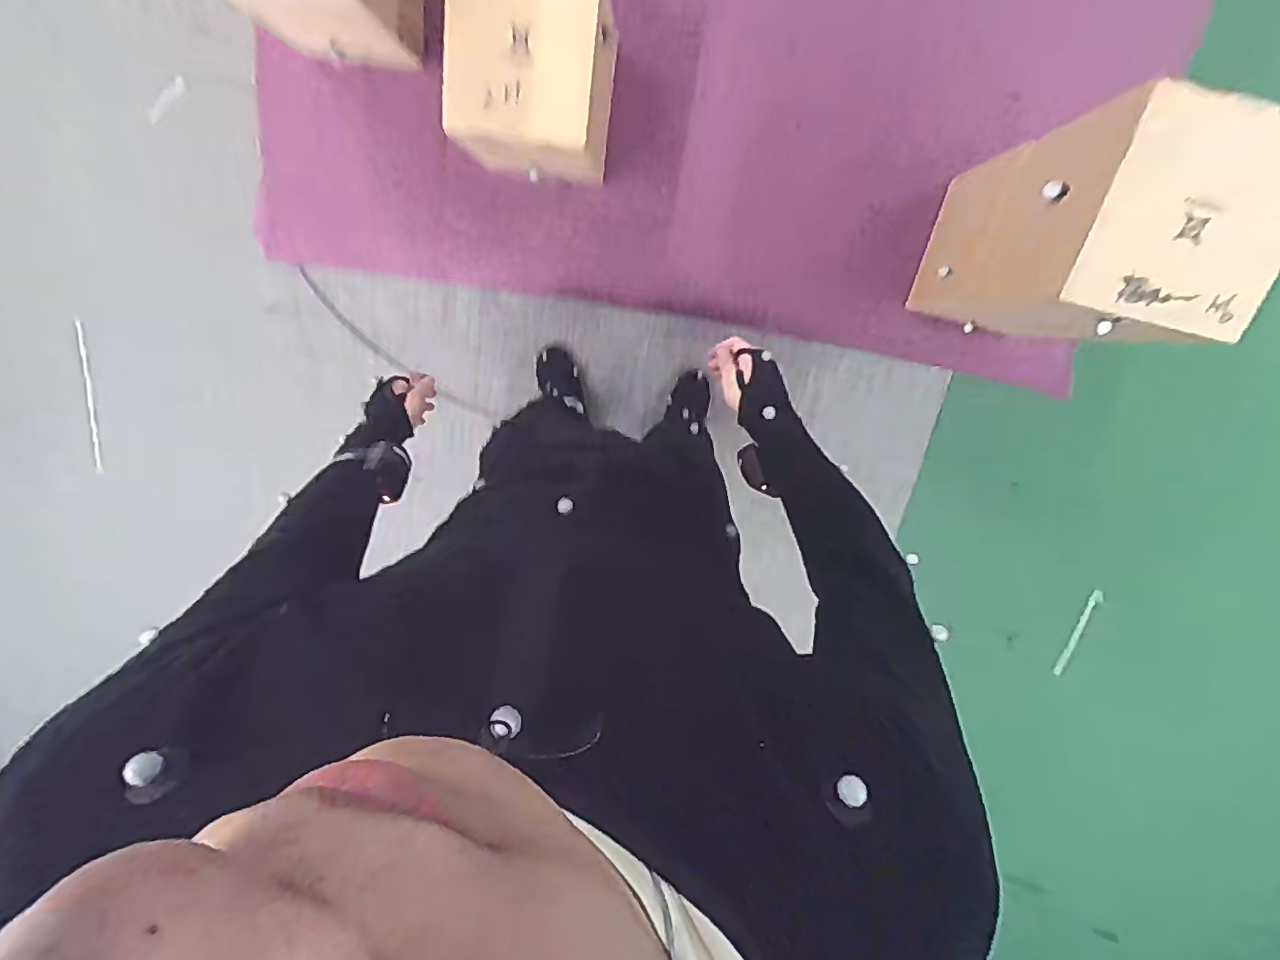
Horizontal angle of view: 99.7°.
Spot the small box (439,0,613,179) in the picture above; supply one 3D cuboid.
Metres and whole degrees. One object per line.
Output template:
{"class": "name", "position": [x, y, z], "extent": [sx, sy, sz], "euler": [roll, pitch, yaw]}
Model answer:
{"class": "small box", "position": [-0.128, -0.493, 0.657], "extent": [0.168, 0.176, 0.179], "euler": [9, 108, 1]}

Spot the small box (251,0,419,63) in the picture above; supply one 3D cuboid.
{"class": "small box", "position": [-0.370, -0.631, 0.627], "extent": [0.168, 0.176, 0.179], "euler": [8, 108, 1]}

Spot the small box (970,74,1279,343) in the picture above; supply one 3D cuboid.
{"class": "small box", "position": [0.466, -0.242, 0.527], "extent": [0.168, 0.176, 0.179], "euler": [15, 106, 0]}
